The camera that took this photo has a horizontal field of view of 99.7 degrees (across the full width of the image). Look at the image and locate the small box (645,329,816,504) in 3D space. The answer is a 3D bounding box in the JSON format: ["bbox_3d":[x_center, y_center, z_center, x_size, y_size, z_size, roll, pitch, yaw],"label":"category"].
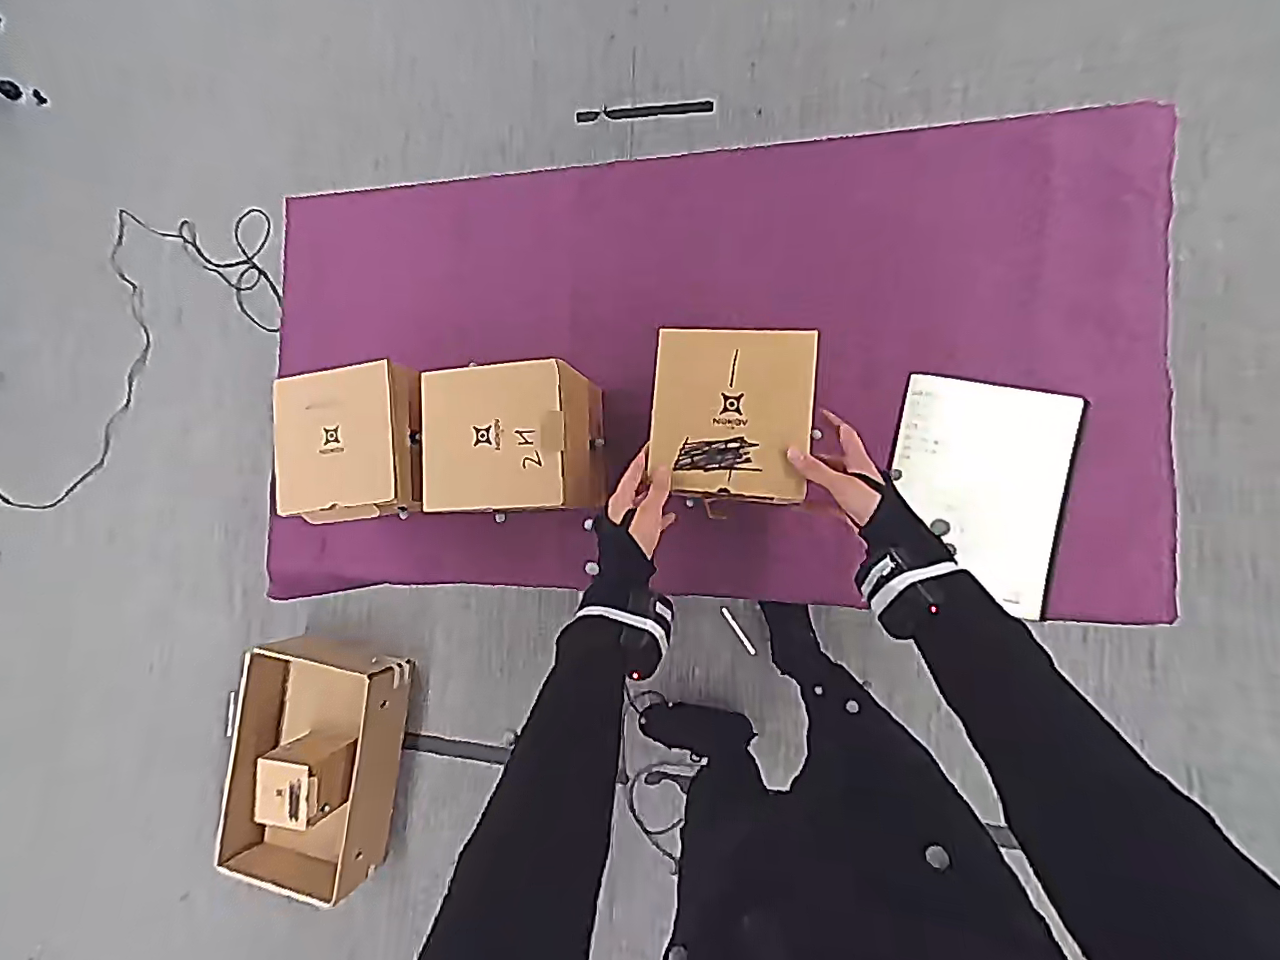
[{"bbox_3d":[0.109,-0.065,0.634,0.168,0.176,0.179,4,86,13],"label":"small box"}]

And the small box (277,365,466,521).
[{"bbox_3d":[-0.353,-0.041,0.737,0.168,0.176,0.179,-7,85,11],"label":"small box"}]
